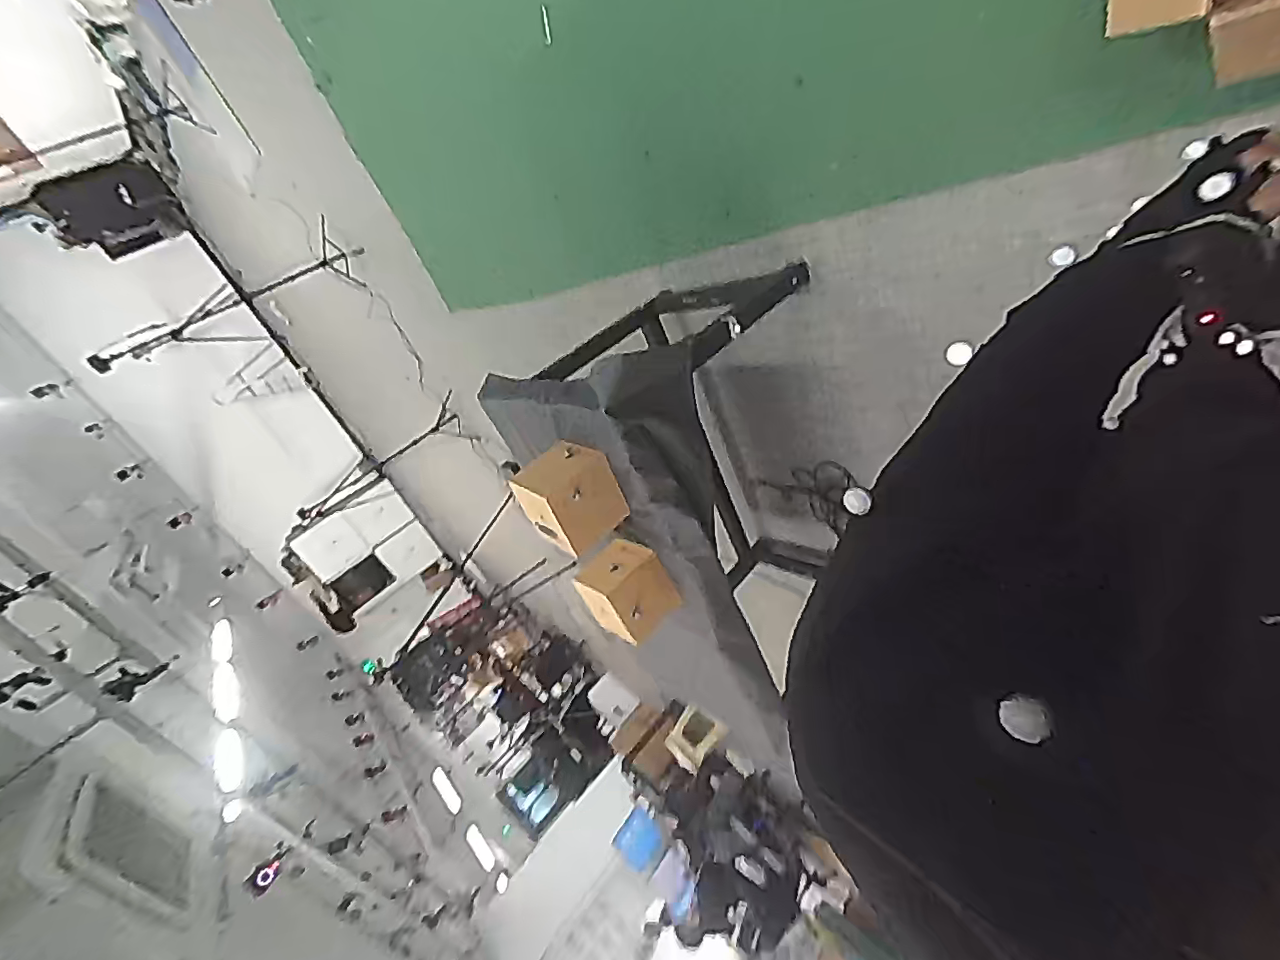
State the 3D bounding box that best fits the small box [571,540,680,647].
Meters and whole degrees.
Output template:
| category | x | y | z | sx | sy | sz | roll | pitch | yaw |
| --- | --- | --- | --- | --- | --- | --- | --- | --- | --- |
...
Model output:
| category | x | y | z | sx | sy | sz | roll | pitch | yaw |
| --- | --- | --- | --- | --- | --- | --- | --- | --- | --- |
| small box | -0.032 | 0.273 | 1.346 | 0.168 | 0.176 | 0.179 | 9 | 135 | 52 |
